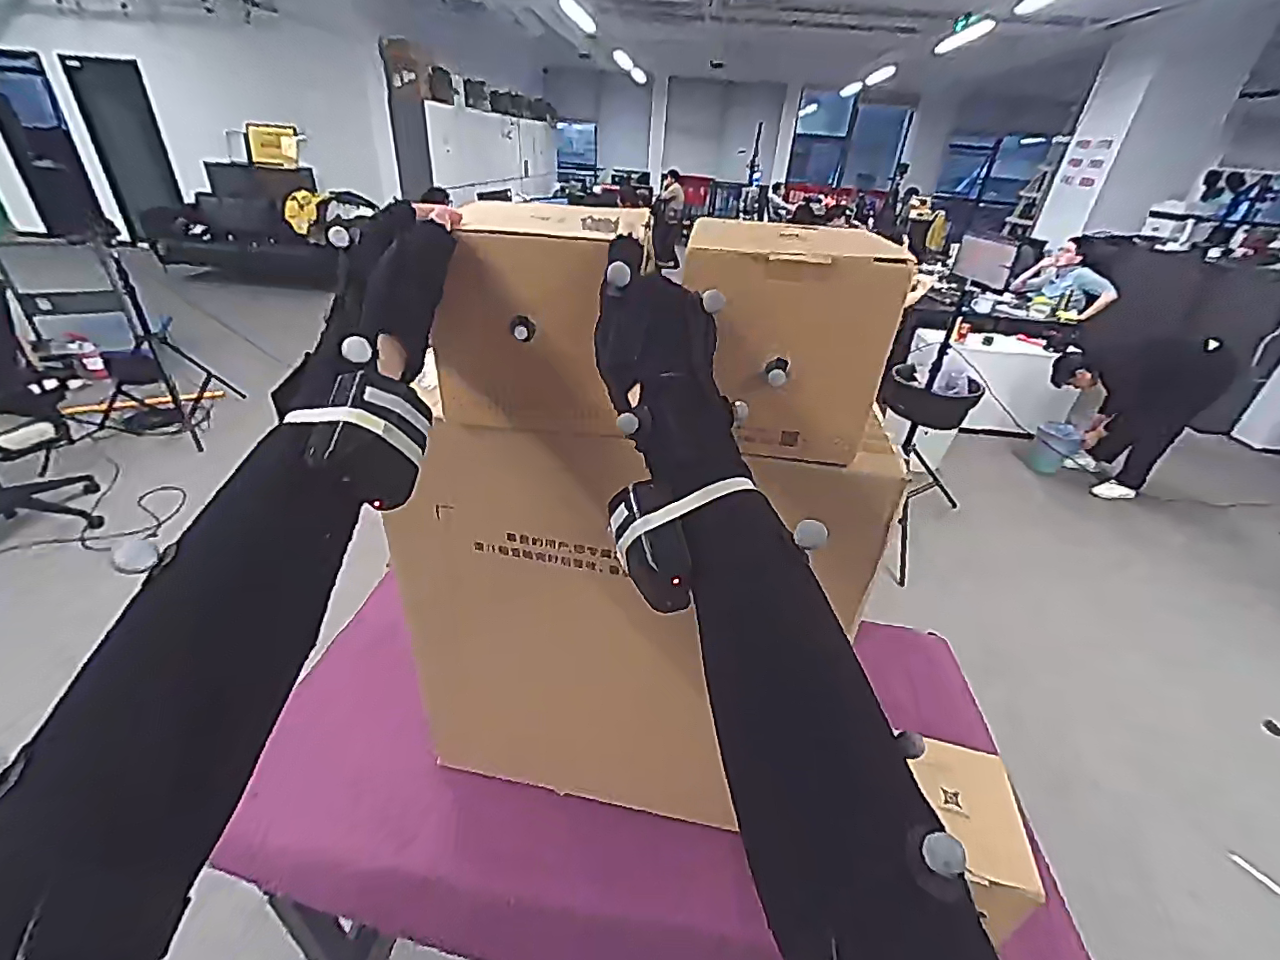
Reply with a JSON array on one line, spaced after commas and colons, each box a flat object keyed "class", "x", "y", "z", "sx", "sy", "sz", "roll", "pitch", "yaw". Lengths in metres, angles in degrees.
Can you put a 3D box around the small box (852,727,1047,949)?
[{"class": "small box", "x": 0.396, "y": 0.478, "z": 0.729, "sx": 0.168, "sy": 0.176, "sz": 0.179, "roll": 11, "pitch": 30, "yaw": 11}]
